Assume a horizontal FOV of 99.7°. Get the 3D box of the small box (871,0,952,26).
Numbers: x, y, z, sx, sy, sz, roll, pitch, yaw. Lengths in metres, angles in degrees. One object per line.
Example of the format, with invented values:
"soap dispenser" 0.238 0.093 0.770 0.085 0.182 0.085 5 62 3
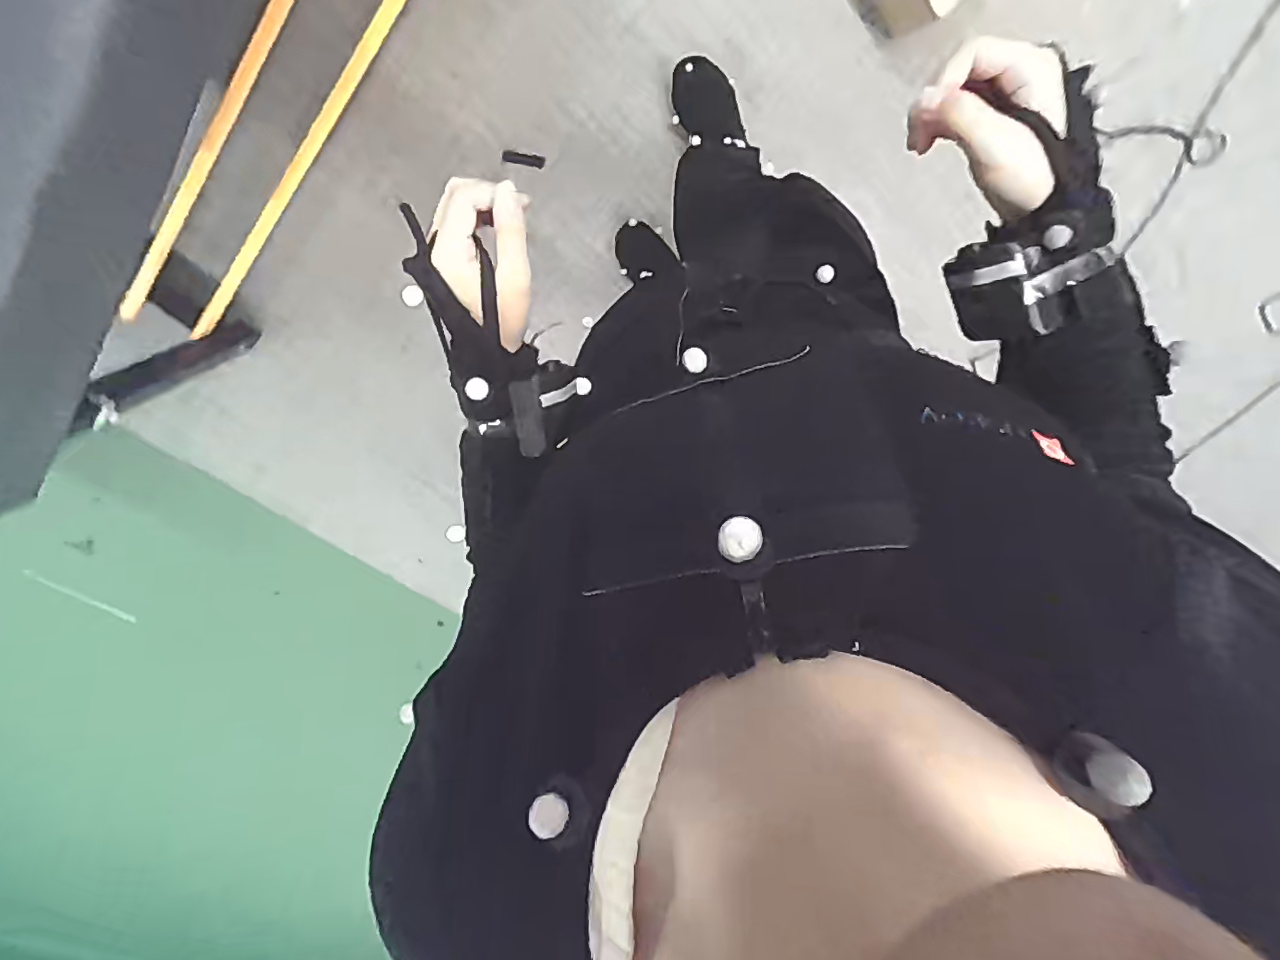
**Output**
"small box" 0.470 -0.890 0.879 0.179 0.176 0.168 40 111 -23
